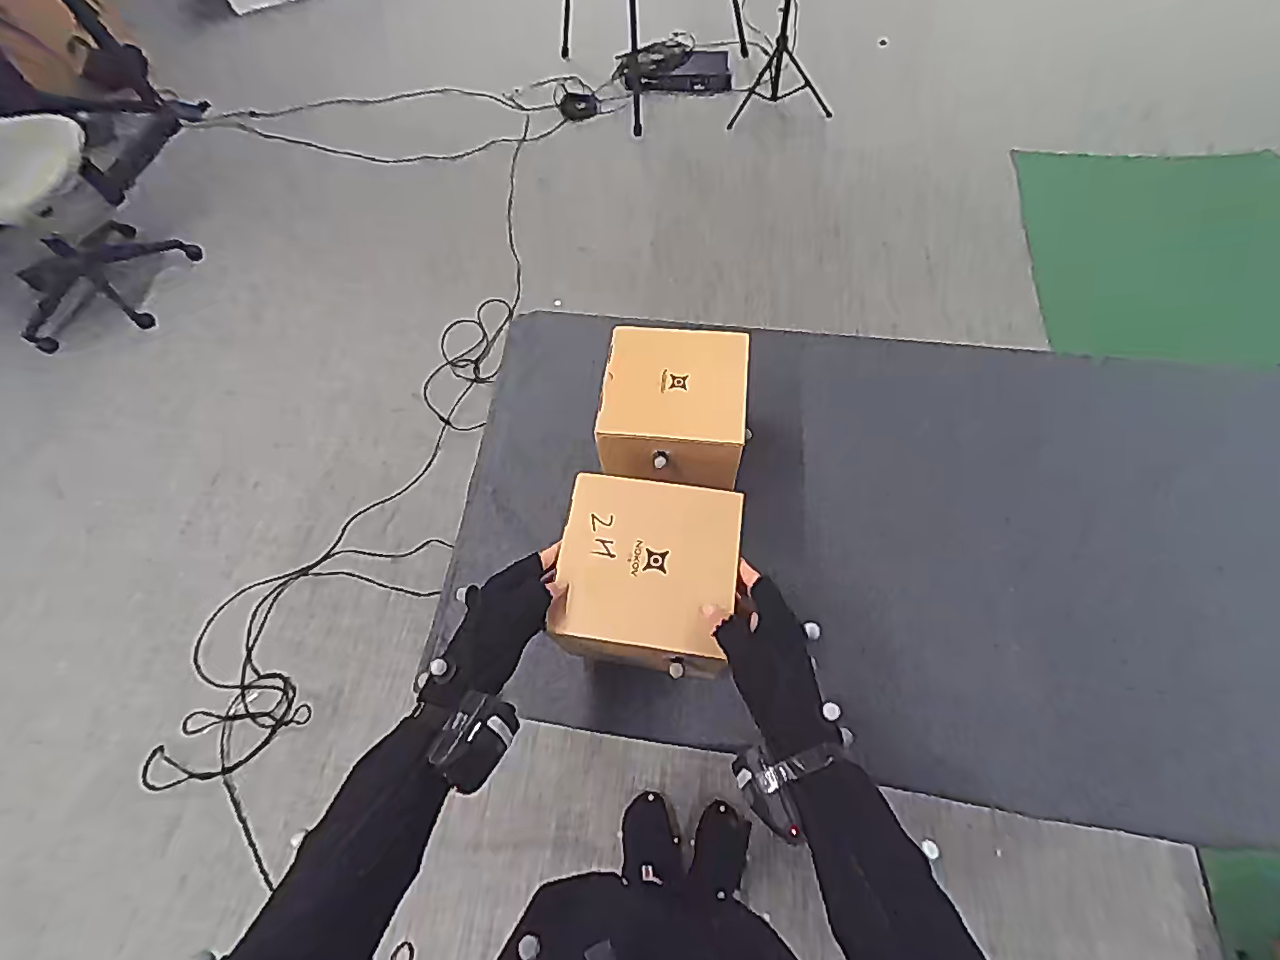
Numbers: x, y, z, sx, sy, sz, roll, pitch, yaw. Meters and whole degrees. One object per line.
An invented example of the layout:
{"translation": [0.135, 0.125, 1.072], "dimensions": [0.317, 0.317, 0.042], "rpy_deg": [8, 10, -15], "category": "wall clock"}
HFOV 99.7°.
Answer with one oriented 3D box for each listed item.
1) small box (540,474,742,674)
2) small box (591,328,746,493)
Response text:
{"translation": [0.008, 0.111, 0.593], "dimensions": [0.179, 0.176, 0.168], "rpy_deg": [7, 65, 6], "category": "small box"}
{"translation": [0.043, -0.080, 0.725], "dimensions": [0.179, 0.176, 0.168], "rpy_deg": [4, 63, 7], "category": "small box"}
